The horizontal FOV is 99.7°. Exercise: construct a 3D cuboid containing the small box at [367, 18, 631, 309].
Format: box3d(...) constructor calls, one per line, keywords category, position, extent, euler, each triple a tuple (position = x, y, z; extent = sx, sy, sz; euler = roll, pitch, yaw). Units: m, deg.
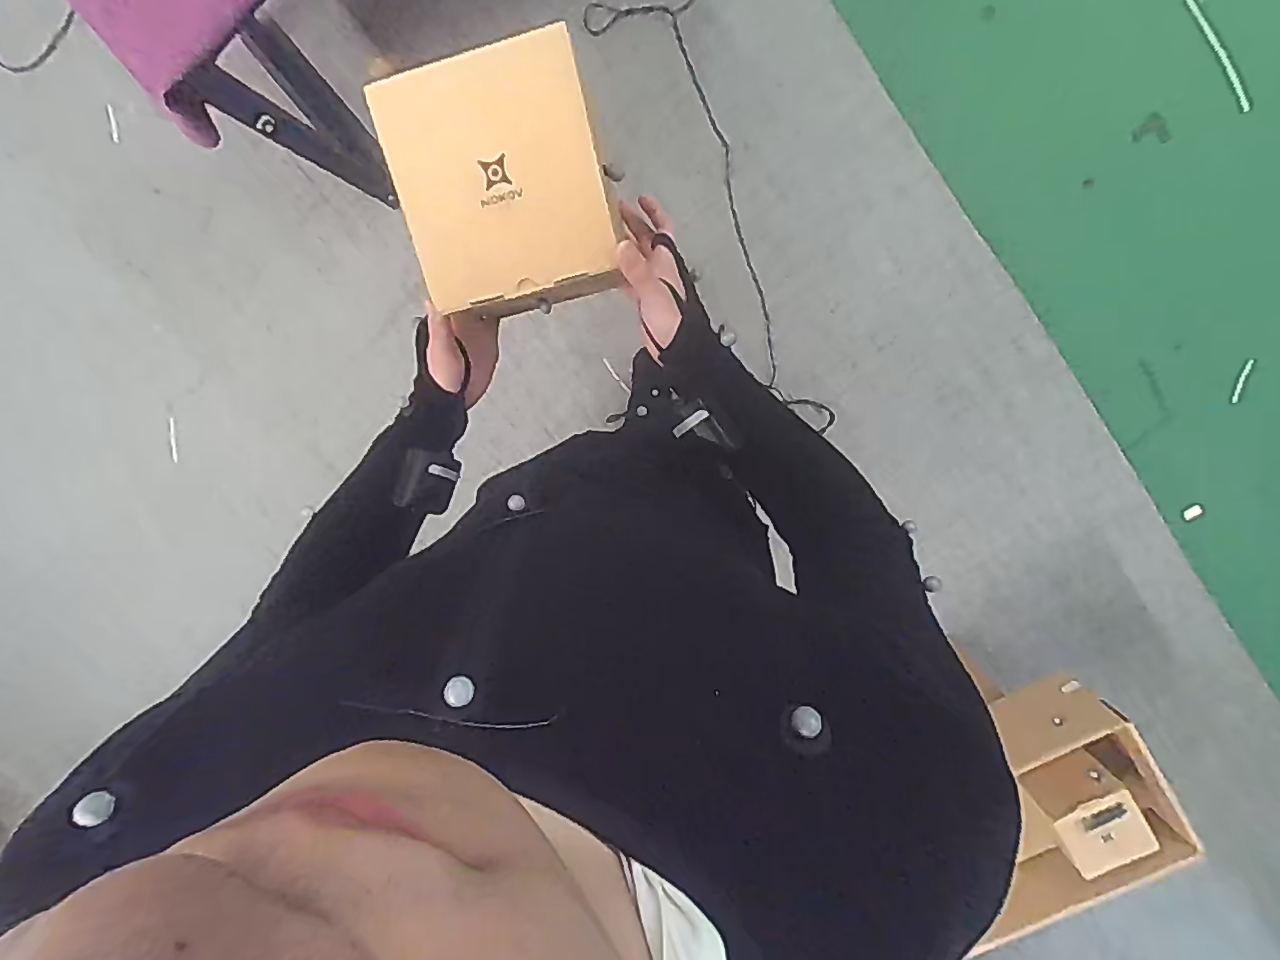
box3d(category="small box", position=(-0.109, -0.265, 0.503), extent=(0.168, 0.176, 0.179), euler=(-12, 106, 7))
